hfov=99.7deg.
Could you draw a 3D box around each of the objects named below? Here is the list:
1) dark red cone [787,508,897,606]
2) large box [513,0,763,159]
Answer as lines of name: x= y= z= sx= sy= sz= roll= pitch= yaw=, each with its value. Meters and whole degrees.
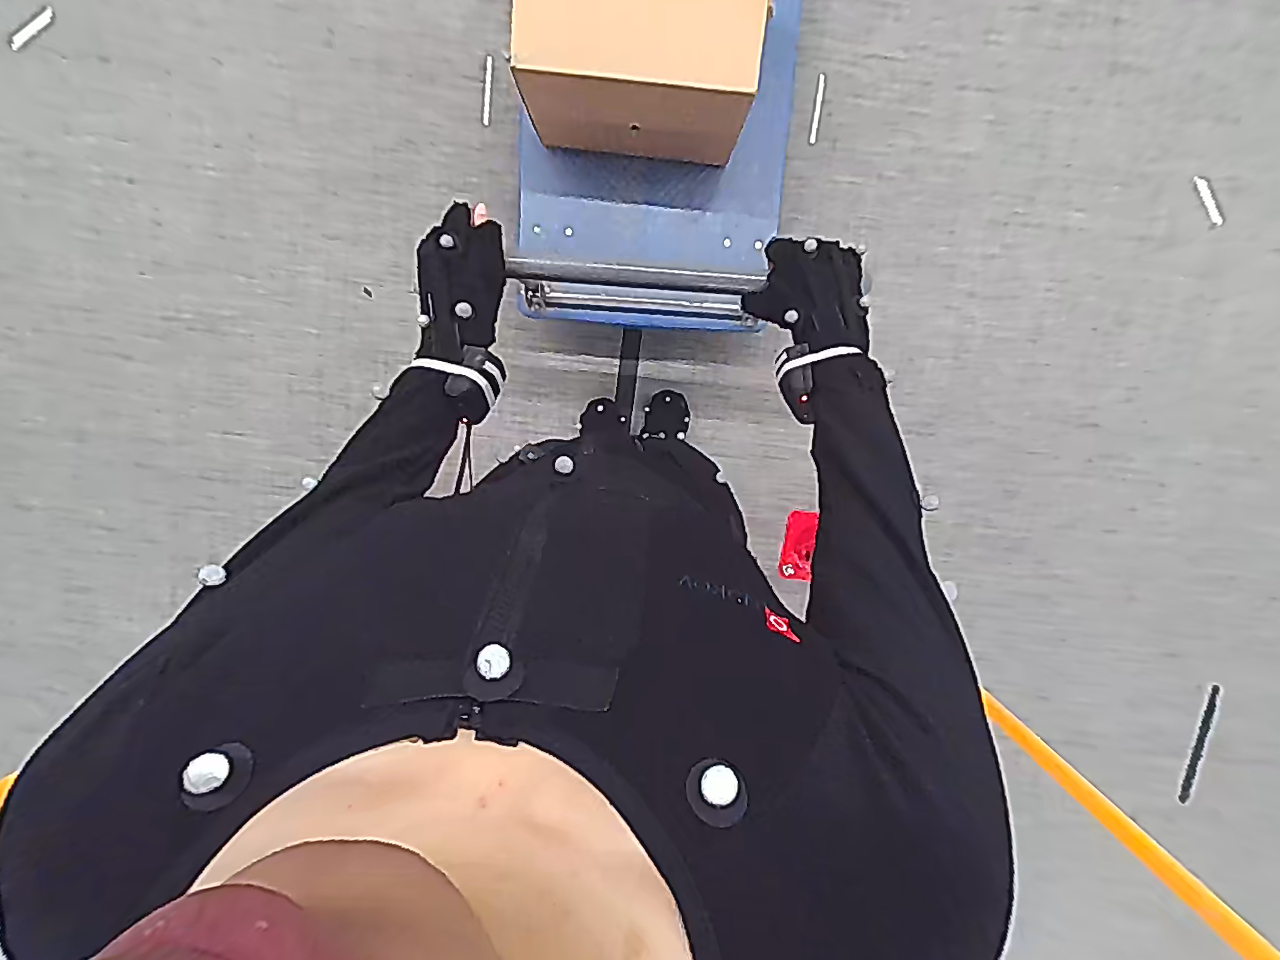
dark red cone: x=0.511 y=0.211 z=1.314 sx=0.201 sy=0.394 sz=0.202 roll=6 pitch=101 yaw=-3
large box: x=0.004 y=-0.825 z=0.999 sx=0.408 sy=0.320 sz=0.320 roll=5 pitch=101 yaw=0
